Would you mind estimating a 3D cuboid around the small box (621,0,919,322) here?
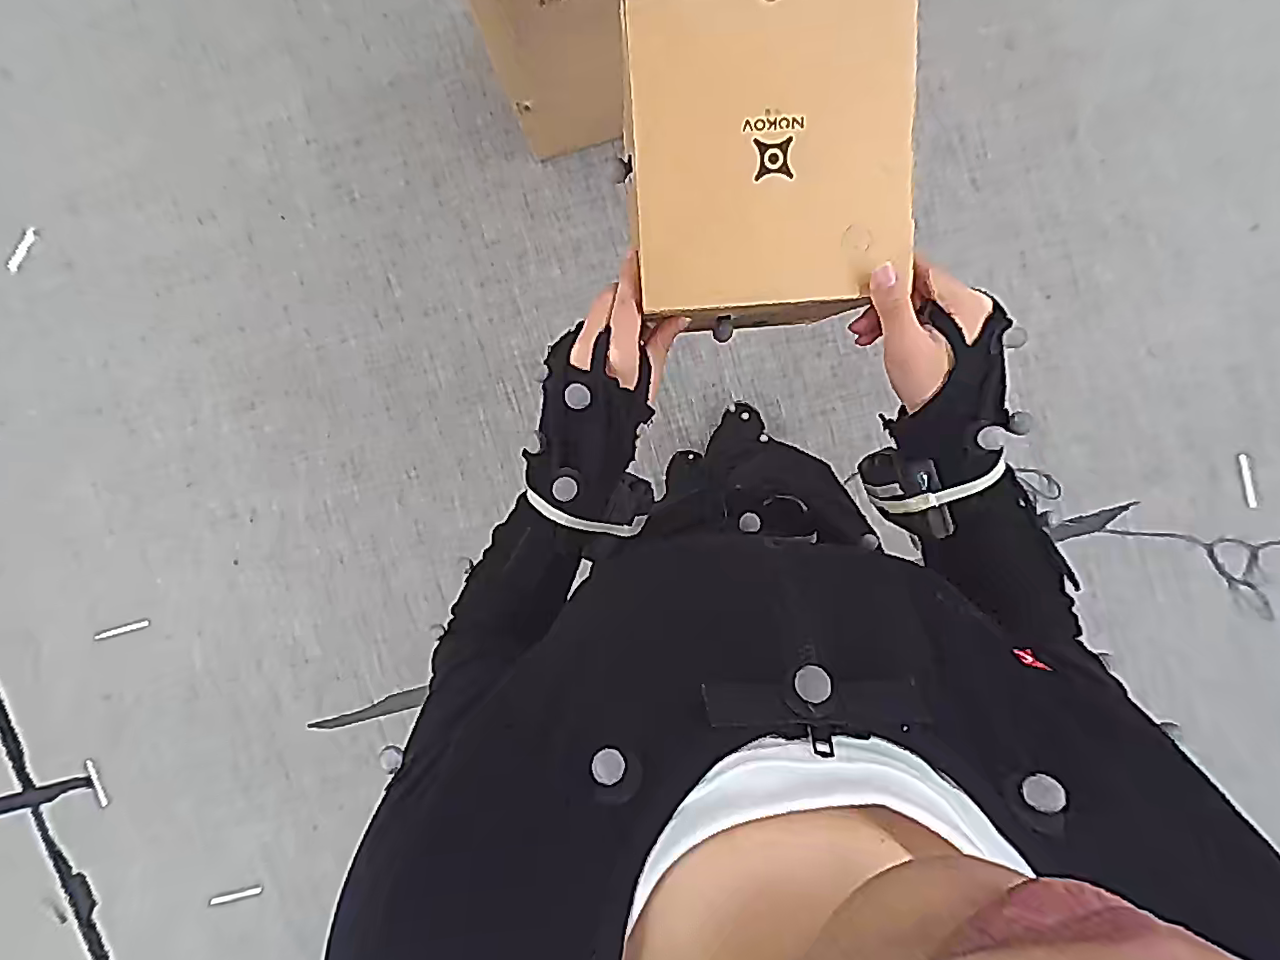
[{"bbox_3d":[0.077,-0.213,0.390,0.168,0.176,0.179,-4,99,1],"label":"small box"}]
